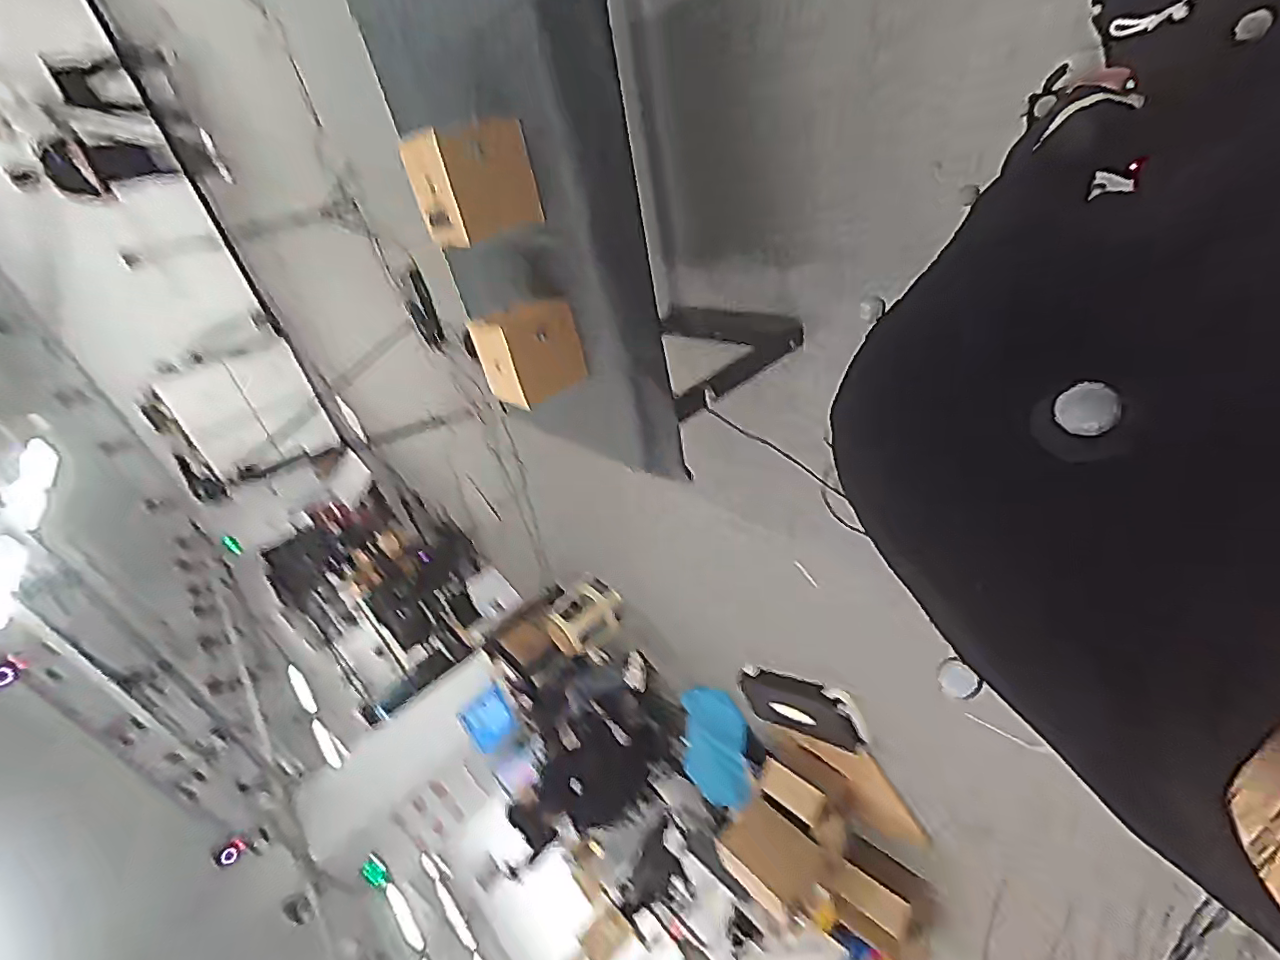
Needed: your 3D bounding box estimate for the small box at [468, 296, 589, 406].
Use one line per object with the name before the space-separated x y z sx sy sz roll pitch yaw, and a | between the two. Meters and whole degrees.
small box | -0.236 -0.285 1.167 0.168 0.176 0.179 24 138 45
